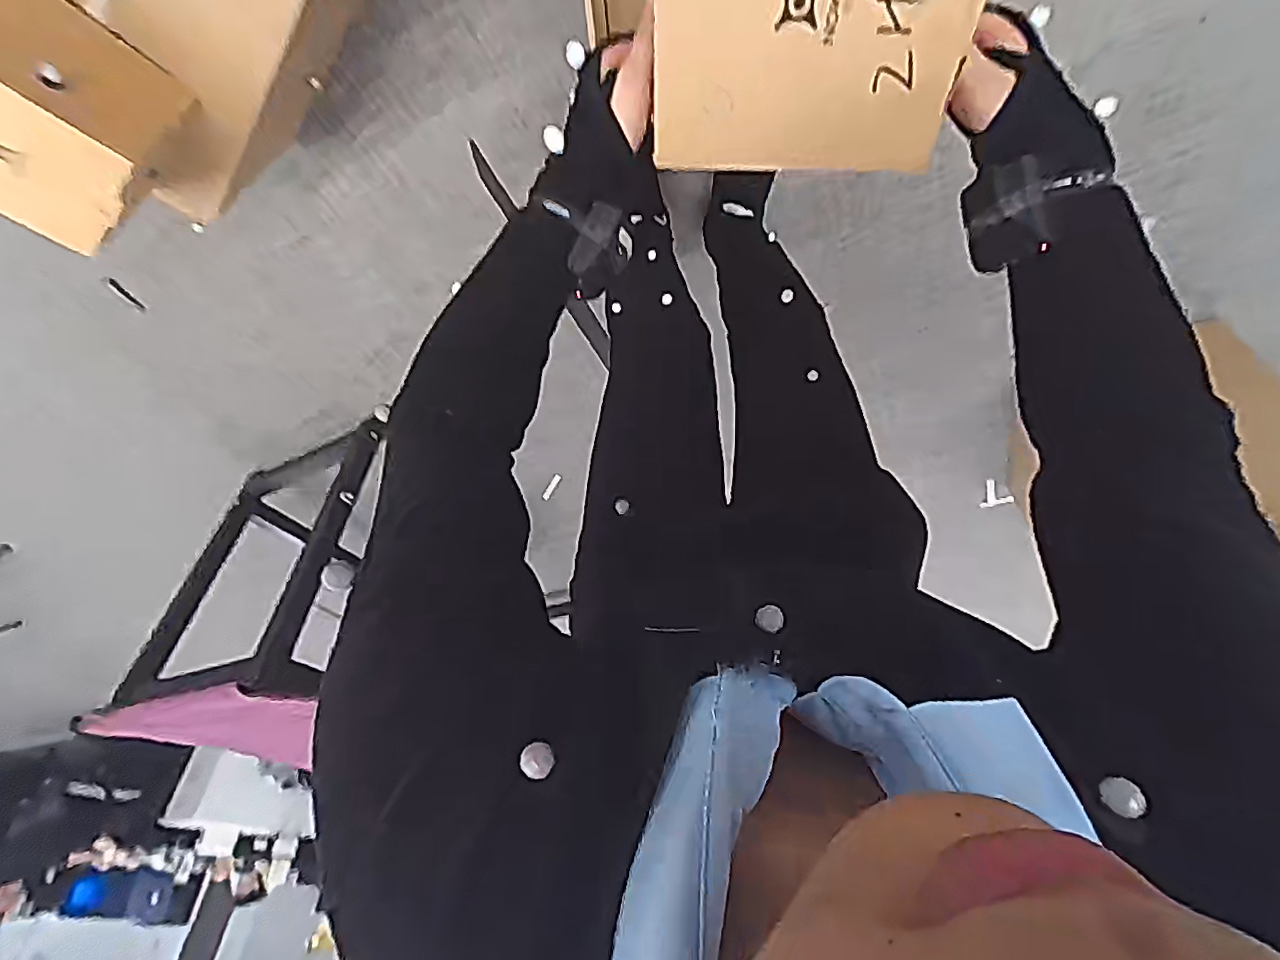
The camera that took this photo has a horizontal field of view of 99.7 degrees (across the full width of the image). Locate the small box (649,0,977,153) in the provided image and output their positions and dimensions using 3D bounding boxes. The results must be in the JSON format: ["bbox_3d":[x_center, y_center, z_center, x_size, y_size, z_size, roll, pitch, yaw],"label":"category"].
[{"bbox_3d":[0.101,-0.327,0.334,0.179,0.176,0.168,4,143,5],"label":"small box"}]
